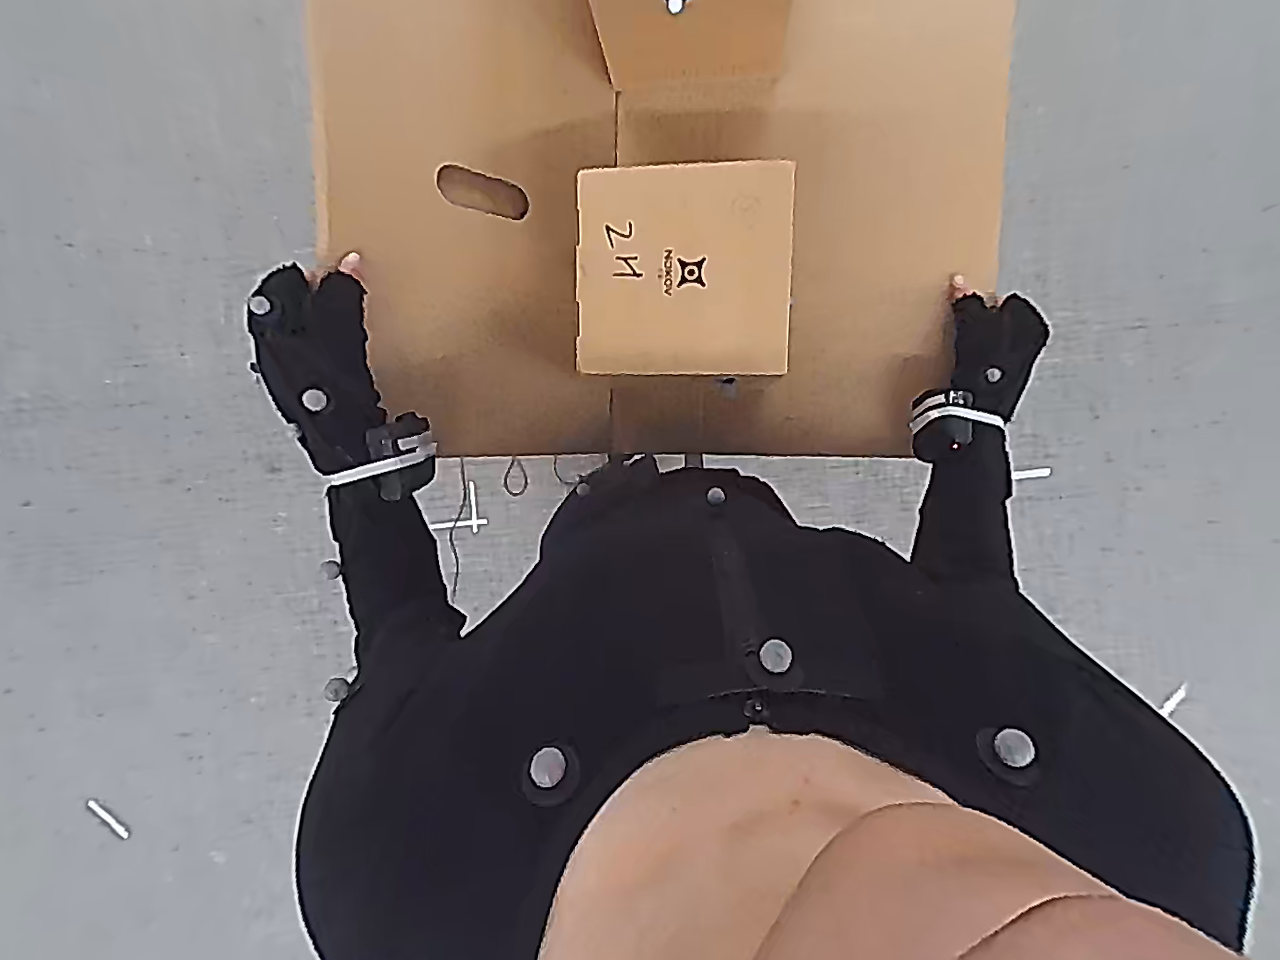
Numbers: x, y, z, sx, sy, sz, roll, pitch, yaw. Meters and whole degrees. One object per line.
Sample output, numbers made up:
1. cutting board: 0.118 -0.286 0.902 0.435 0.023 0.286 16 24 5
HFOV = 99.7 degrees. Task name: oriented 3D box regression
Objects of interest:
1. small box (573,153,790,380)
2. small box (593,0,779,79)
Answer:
1. small box: 0.041 -0.189 0.523 0.179 0.176 0.168 2 95 8
2. small box: 0.042 -0.505 0.494 0.179 0.176 0.168 0 95 7
